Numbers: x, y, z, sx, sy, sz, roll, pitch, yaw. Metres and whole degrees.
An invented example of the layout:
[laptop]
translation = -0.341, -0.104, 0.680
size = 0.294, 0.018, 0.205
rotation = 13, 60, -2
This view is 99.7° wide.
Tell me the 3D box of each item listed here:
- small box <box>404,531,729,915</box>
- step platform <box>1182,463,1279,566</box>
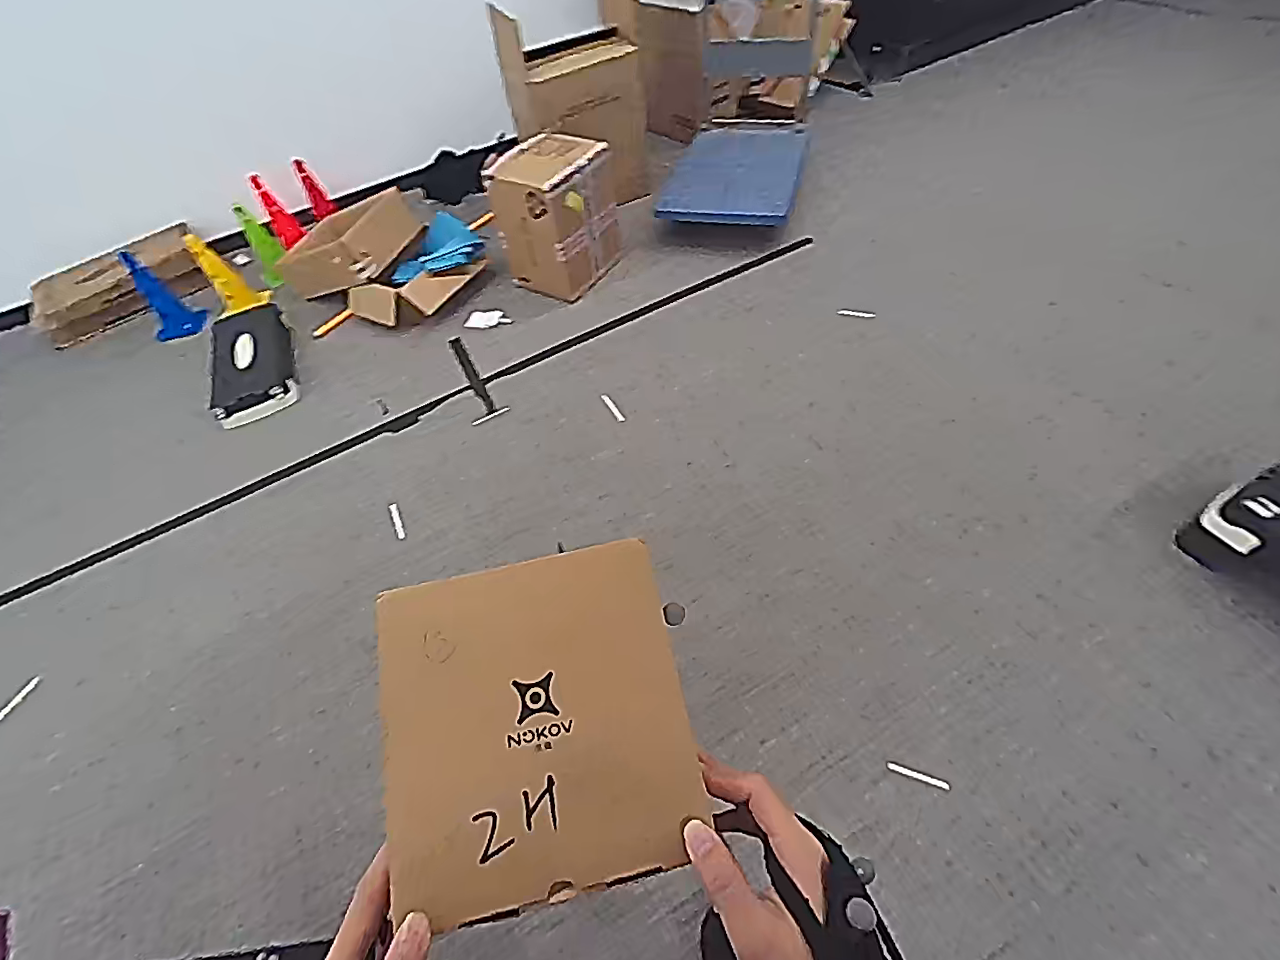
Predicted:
[small box]
translation = -0.050, 0.155, 0.377
size = 0.168, 0.176, 0.179
rotation = -10, 68, -5
[step platform]
translation = 1.655, 0.254, 1.170
size = 0.286, 0.204, 0.684
rotation = -27, 53, -13
